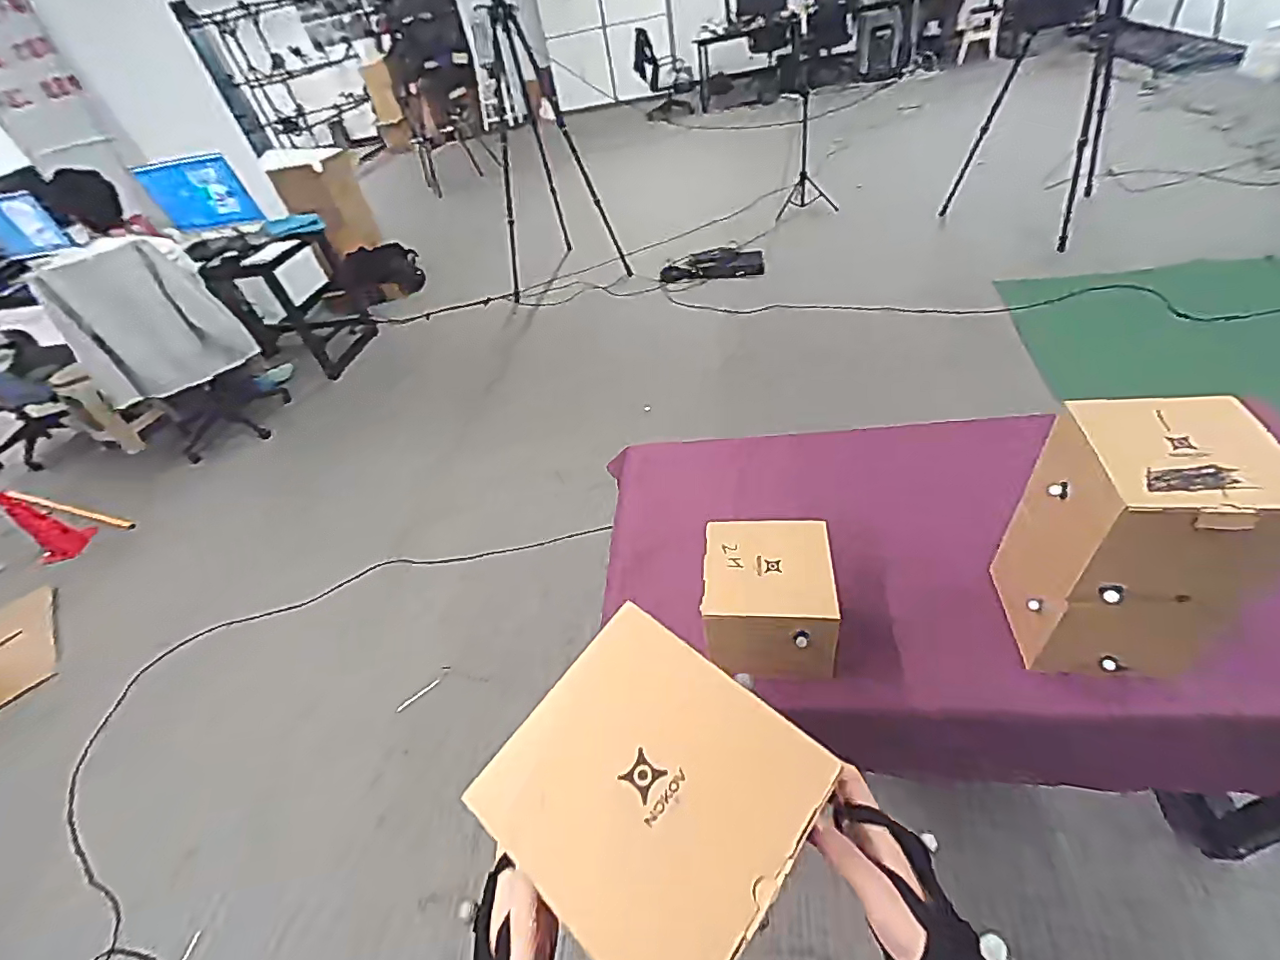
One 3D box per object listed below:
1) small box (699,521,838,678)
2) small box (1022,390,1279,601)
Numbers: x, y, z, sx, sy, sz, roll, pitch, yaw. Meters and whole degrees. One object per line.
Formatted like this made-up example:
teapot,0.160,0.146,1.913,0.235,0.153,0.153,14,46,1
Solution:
small box,0.187,0.178,0.800,0.179,0.176,0.168,-3,43,13
small box,0.572,0.021,0.614,0.168,0.176,0.179,-1,44,15
